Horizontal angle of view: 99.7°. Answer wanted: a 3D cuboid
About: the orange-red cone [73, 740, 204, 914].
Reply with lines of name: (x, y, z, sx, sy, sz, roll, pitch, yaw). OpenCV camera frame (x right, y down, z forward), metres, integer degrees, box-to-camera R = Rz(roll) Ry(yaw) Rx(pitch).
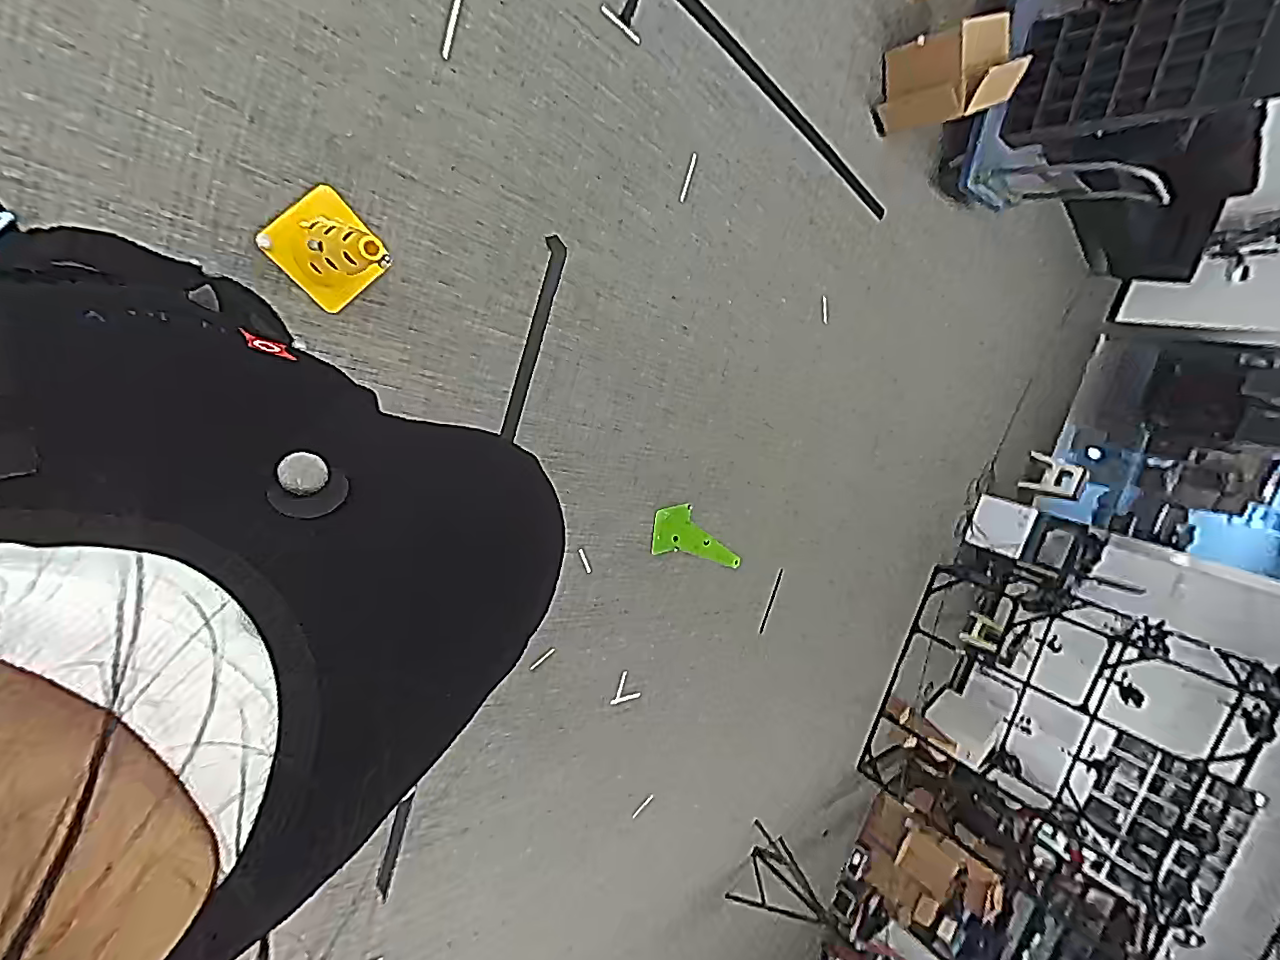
orange-red cone: (-1.053, 0.751, 1.142, 0.198, 0.360, 0.199, 19, 92, -45)

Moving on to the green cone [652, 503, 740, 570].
green cone: (0.239, 0.253, 2.108, 0.200, 0.368, 0.202, -11, 115, -38)
